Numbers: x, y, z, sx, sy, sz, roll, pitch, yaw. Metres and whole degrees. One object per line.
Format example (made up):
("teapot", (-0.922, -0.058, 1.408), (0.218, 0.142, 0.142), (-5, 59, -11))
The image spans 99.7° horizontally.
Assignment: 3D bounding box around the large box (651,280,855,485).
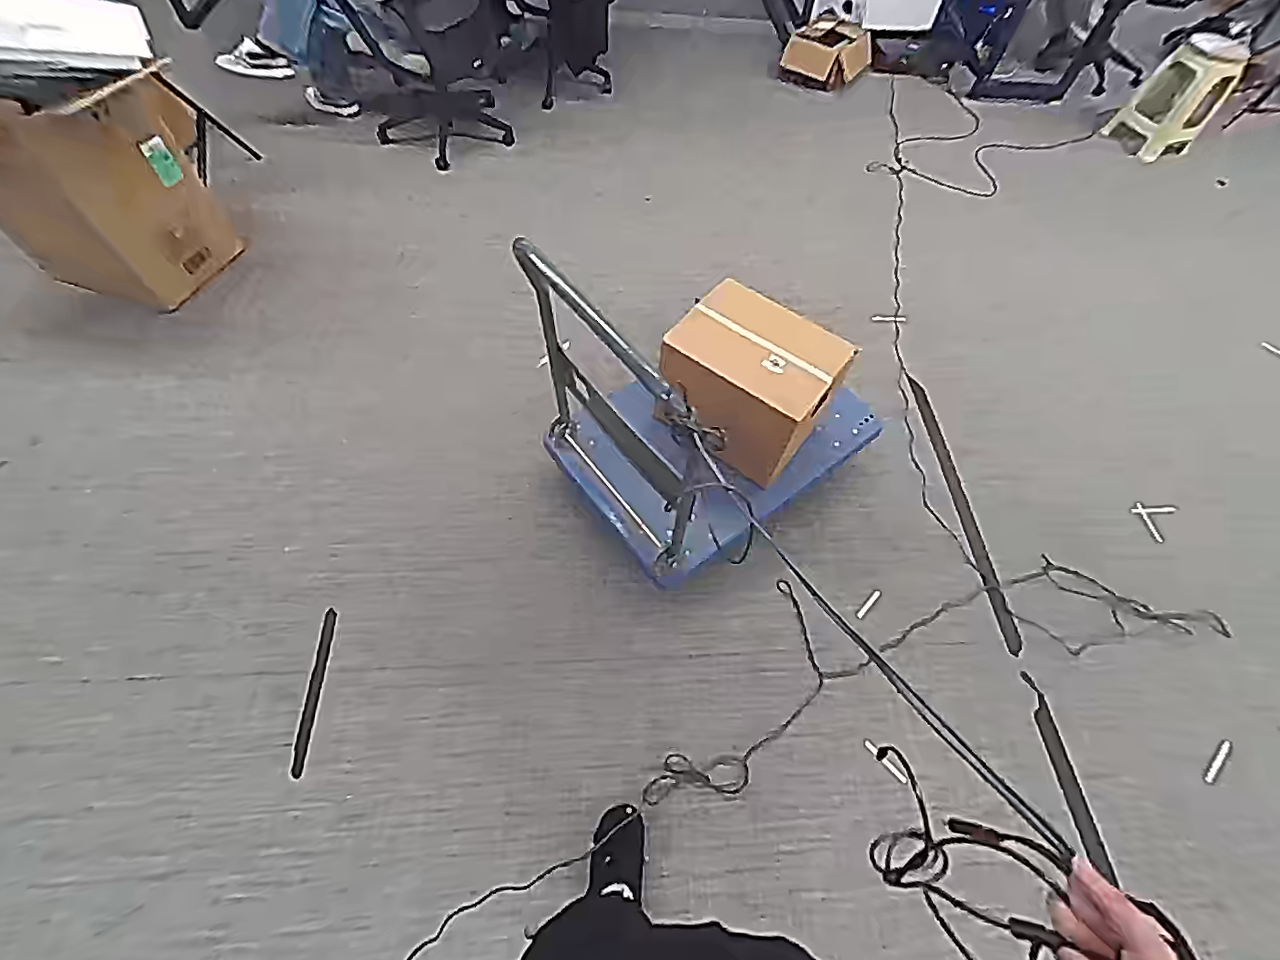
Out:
("large box", (0.284, -0.263, 1.476), (0.408, 0.320, 0.320), (35, 64, 15))
